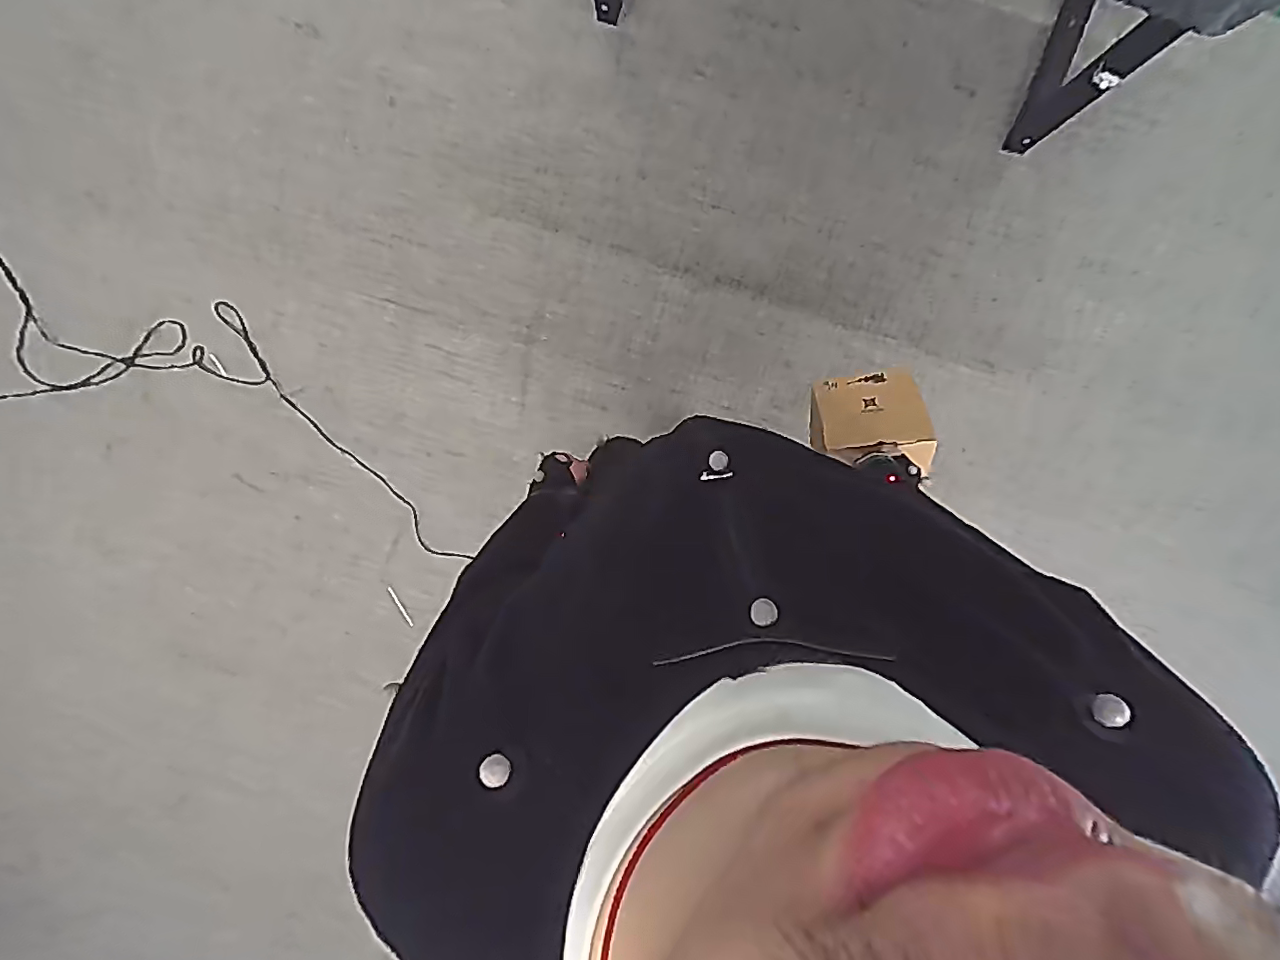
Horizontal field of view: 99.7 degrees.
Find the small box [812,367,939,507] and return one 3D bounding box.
[{"bbox_3d":[0.405,-0.067,0.952,0.168,0.179,0.176,-9,140,13],"label":"small box"}]
